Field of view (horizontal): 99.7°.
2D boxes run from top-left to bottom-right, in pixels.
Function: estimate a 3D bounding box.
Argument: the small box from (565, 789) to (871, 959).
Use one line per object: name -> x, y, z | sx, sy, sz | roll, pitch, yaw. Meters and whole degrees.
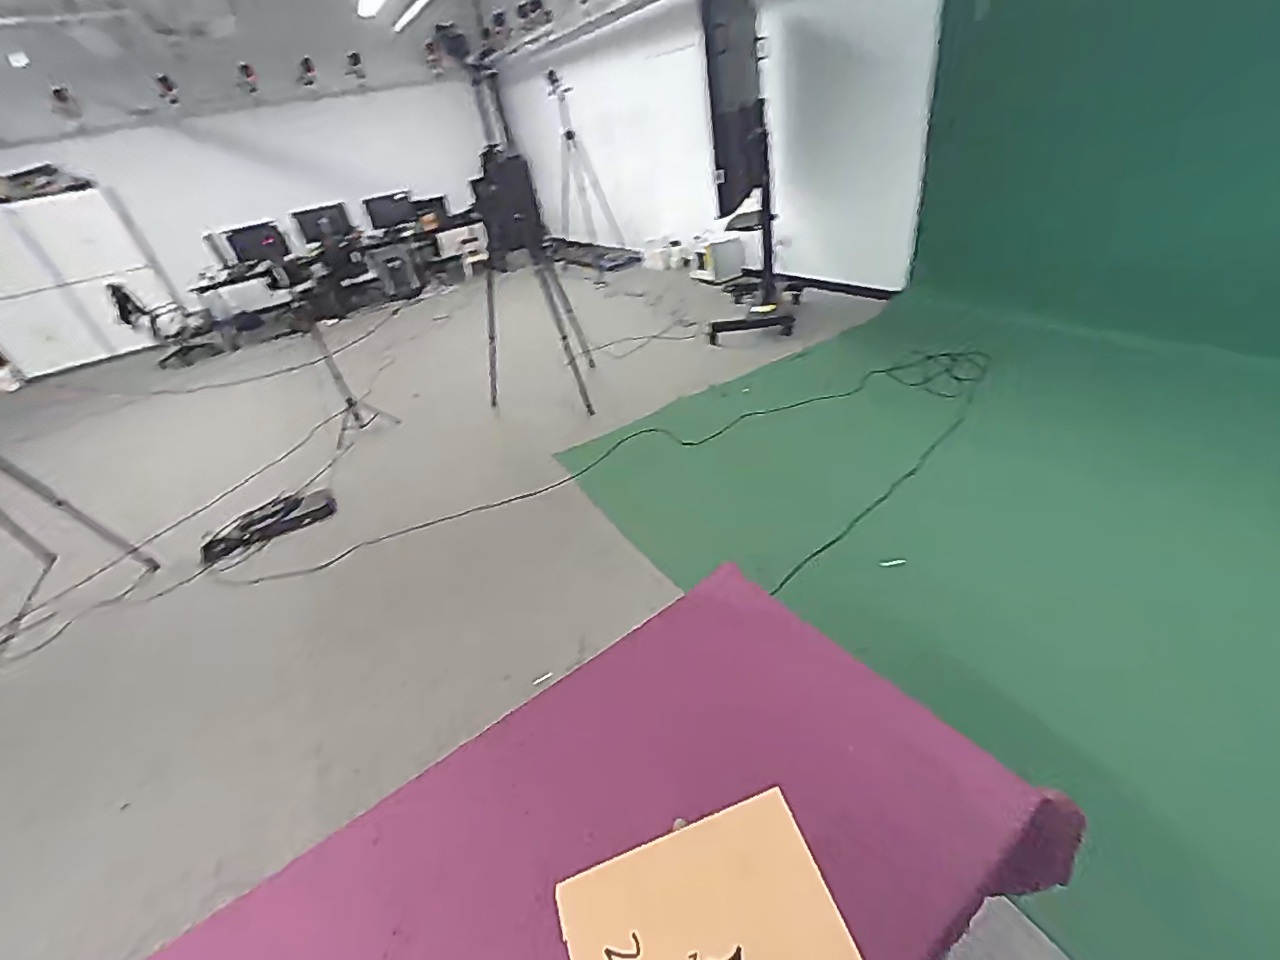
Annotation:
small box -> 0.061, 0.360, 0.392 | 0.179, 0.176, 0.168 | -18, 46, -8
